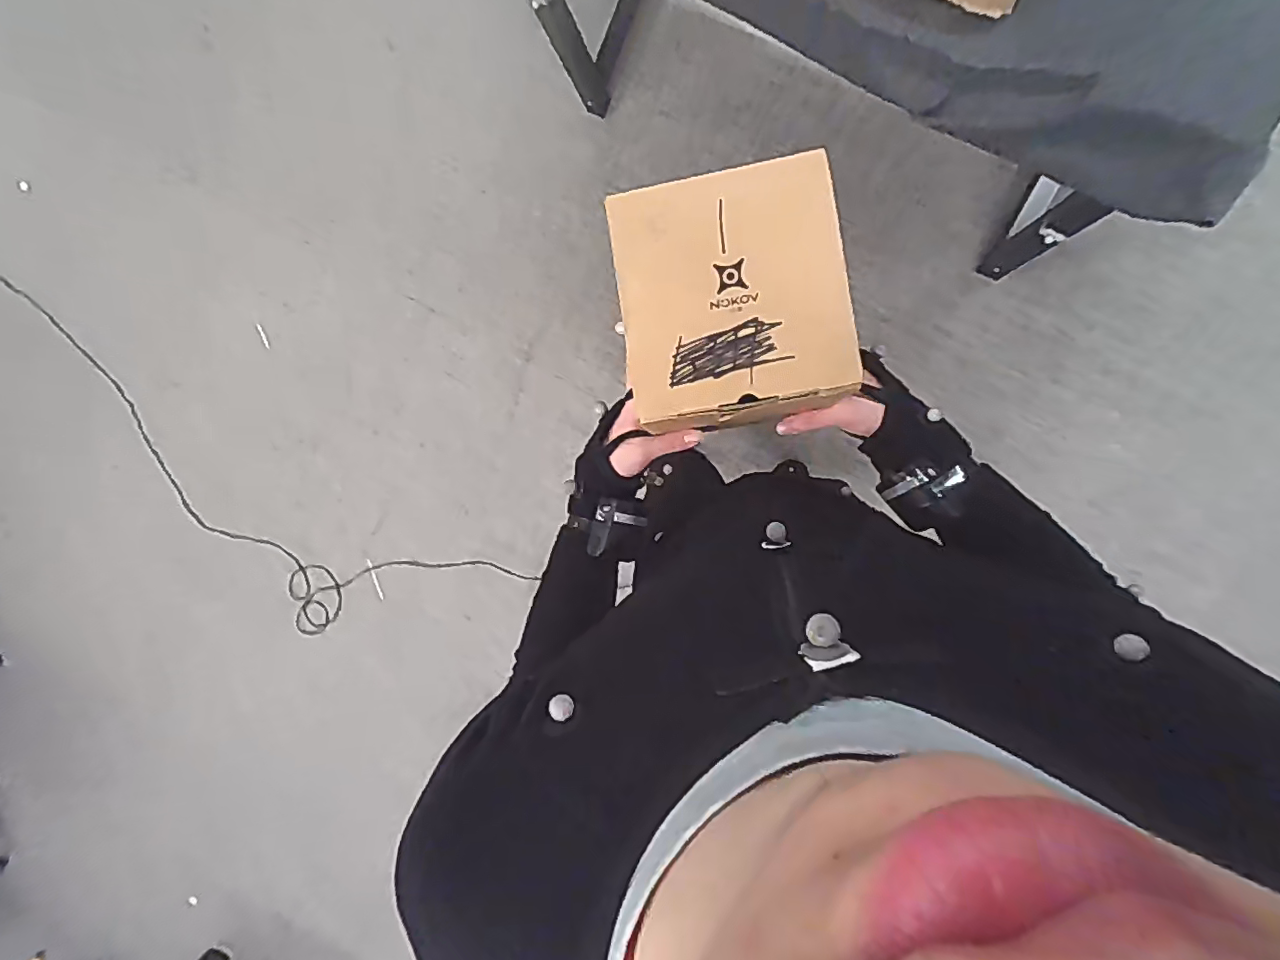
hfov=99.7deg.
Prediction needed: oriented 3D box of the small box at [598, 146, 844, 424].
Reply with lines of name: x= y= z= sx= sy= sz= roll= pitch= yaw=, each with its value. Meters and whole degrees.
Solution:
small box: x=0.068 y=-0.146 z=0.477 sx=0.168 sy=0.176 sz=0.179 roll=-7 pitch=89 yaw=7
